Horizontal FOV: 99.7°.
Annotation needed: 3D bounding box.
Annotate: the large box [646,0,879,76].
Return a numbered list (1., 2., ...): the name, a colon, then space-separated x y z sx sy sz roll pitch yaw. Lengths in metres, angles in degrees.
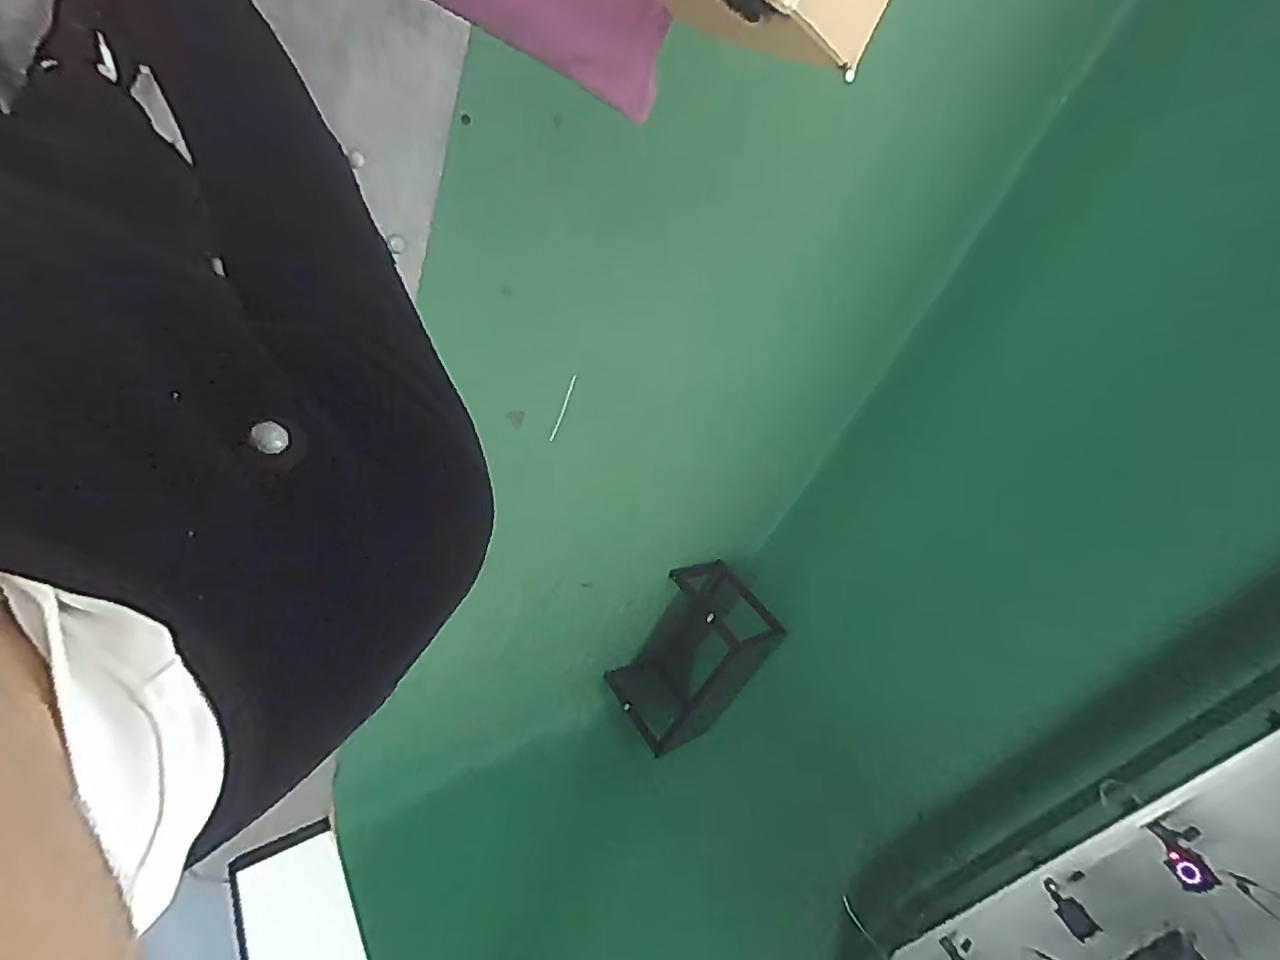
1. large box: 0.136 -0.749 0.568 0.320 0.320 0.408 -3 131 -42
